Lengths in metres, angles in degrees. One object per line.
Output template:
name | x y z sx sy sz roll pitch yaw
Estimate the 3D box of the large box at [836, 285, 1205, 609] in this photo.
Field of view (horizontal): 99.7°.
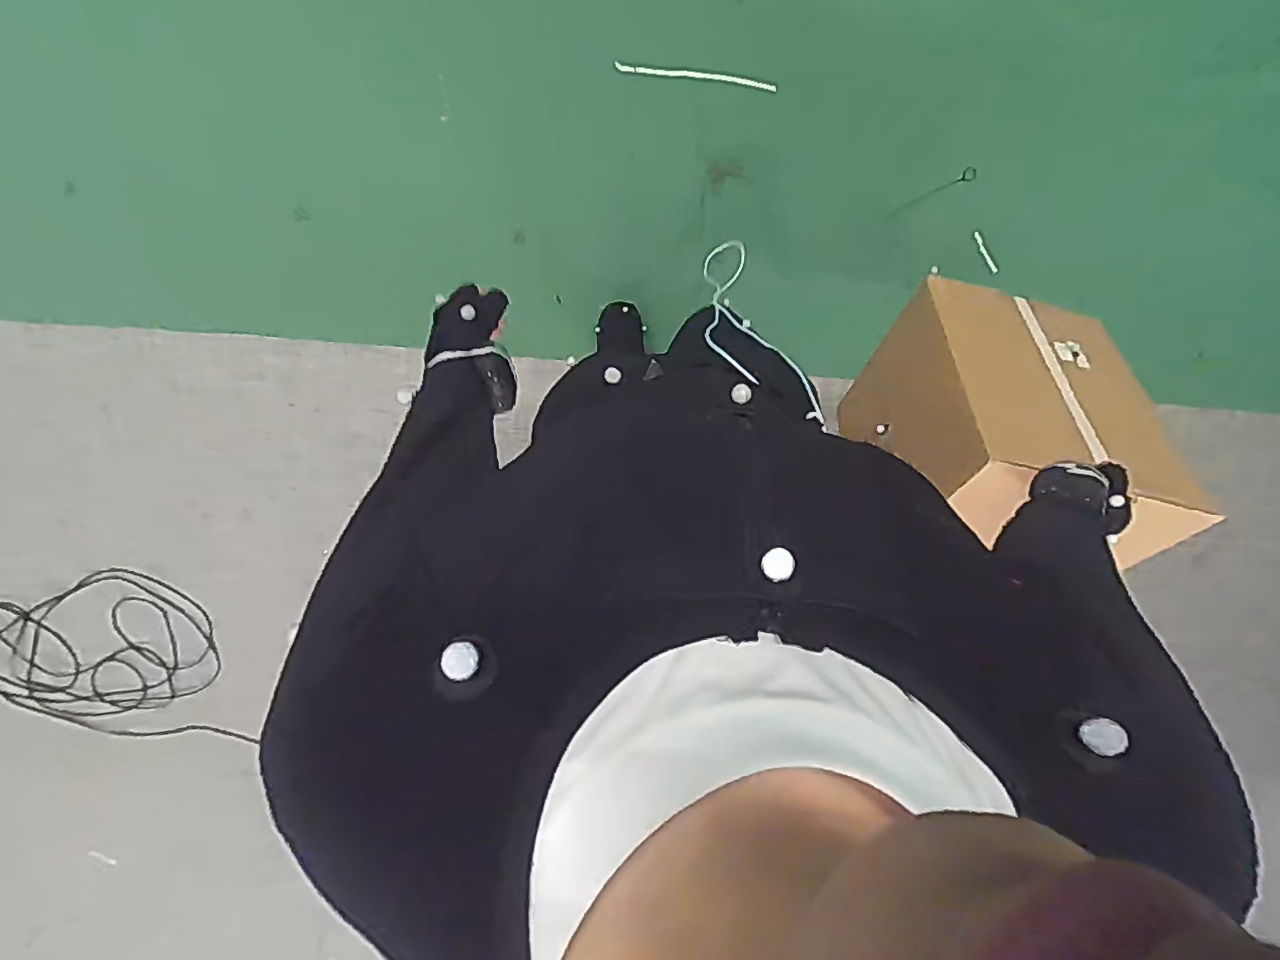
large box | 0.554 -0.050 0.899 0.320 0.408 0.320 13 141 -4
